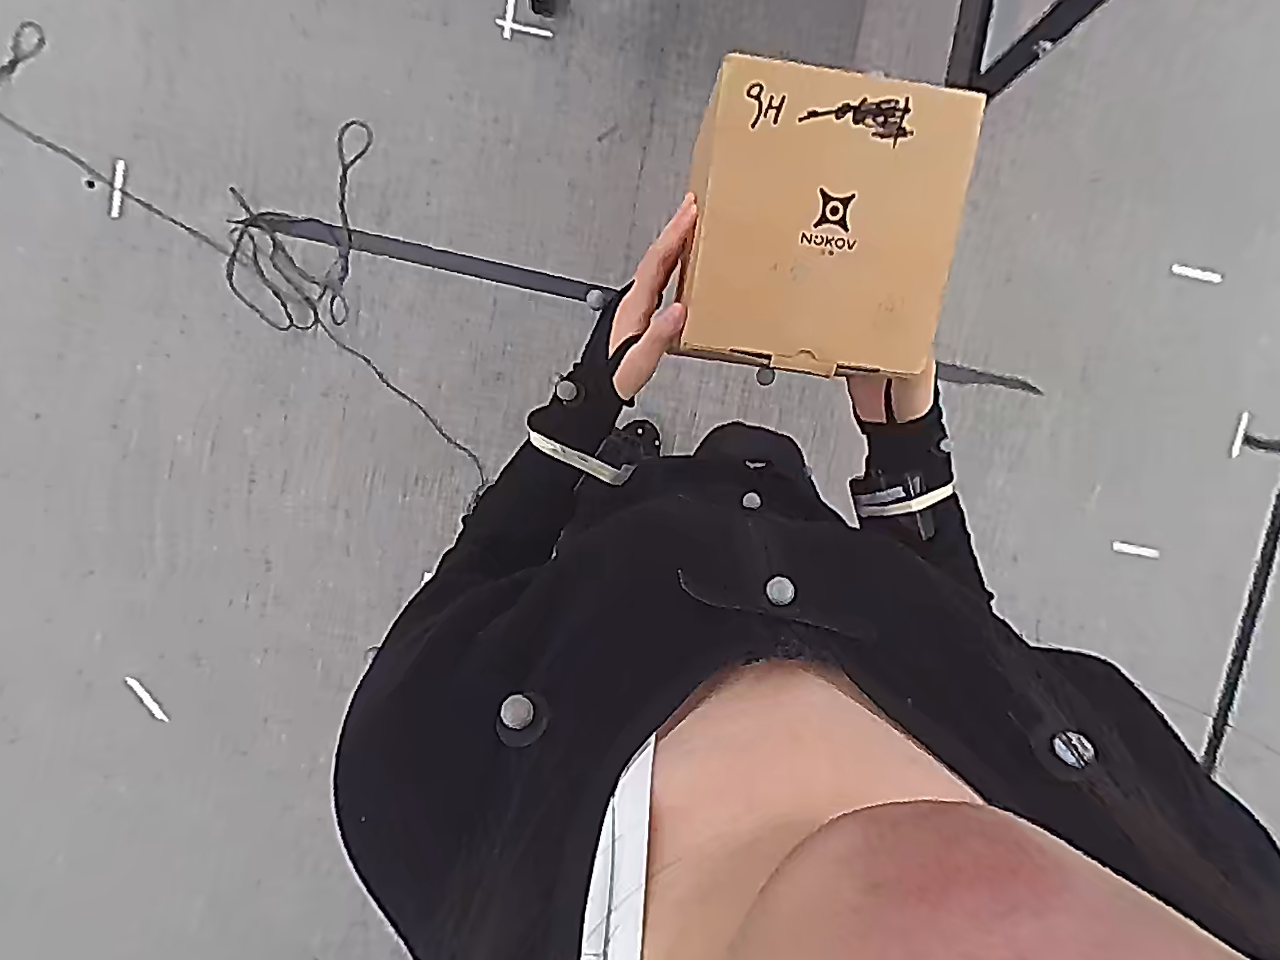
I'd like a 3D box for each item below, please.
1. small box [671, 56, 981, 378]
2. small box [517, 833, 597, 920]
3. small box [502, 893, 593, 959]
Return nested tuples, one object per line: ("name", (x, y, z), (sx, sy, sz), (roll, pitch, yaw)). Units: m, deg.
("small box", (0.120, -0.182, 0.430), (0.168, 0.176, 0.179), (7, 102, -3))
("small box", (-0.186, 0.926, 1.192), (0.168, 0.176, 0.179), (7, 94, -5))
("small box", (-0.179, 0.935, 1.030), (0.168, 0.176, 0.179), (6, 96, -3))
